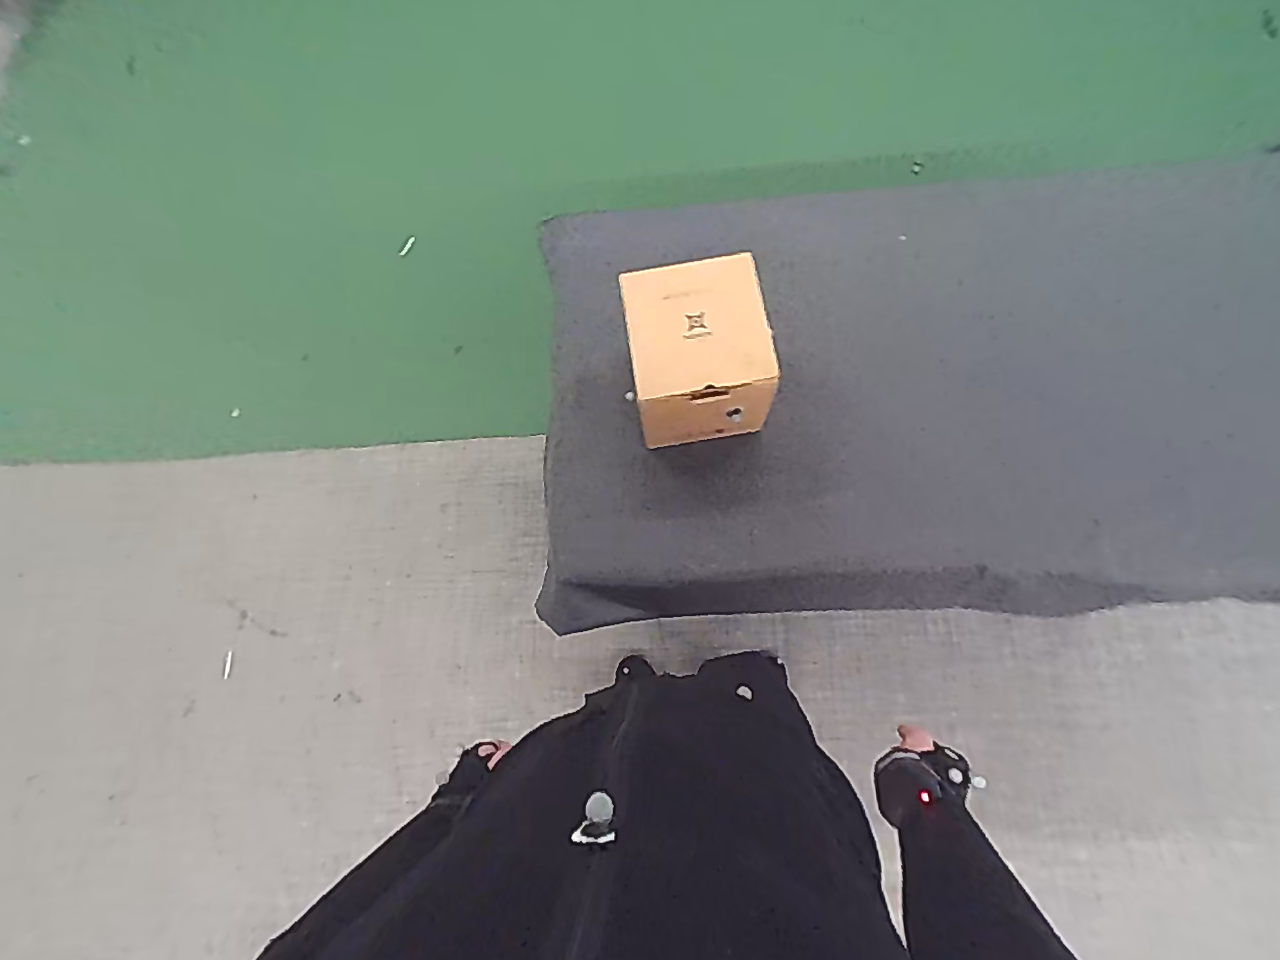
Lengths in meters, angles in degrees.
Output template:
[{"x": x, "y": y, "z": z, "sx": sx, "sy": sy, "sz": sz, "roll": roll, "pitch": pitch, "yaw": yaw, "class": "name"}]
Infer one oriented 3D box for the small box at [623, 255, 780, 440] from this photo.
[{"x": 0.076, "y": -0.163, "z": 0.723, "sx": 0.168, "sy": 0.176, "sz": 0.179, "roll": -10, "pitch": 74, "yaw": 0, "class": "small box"}]
